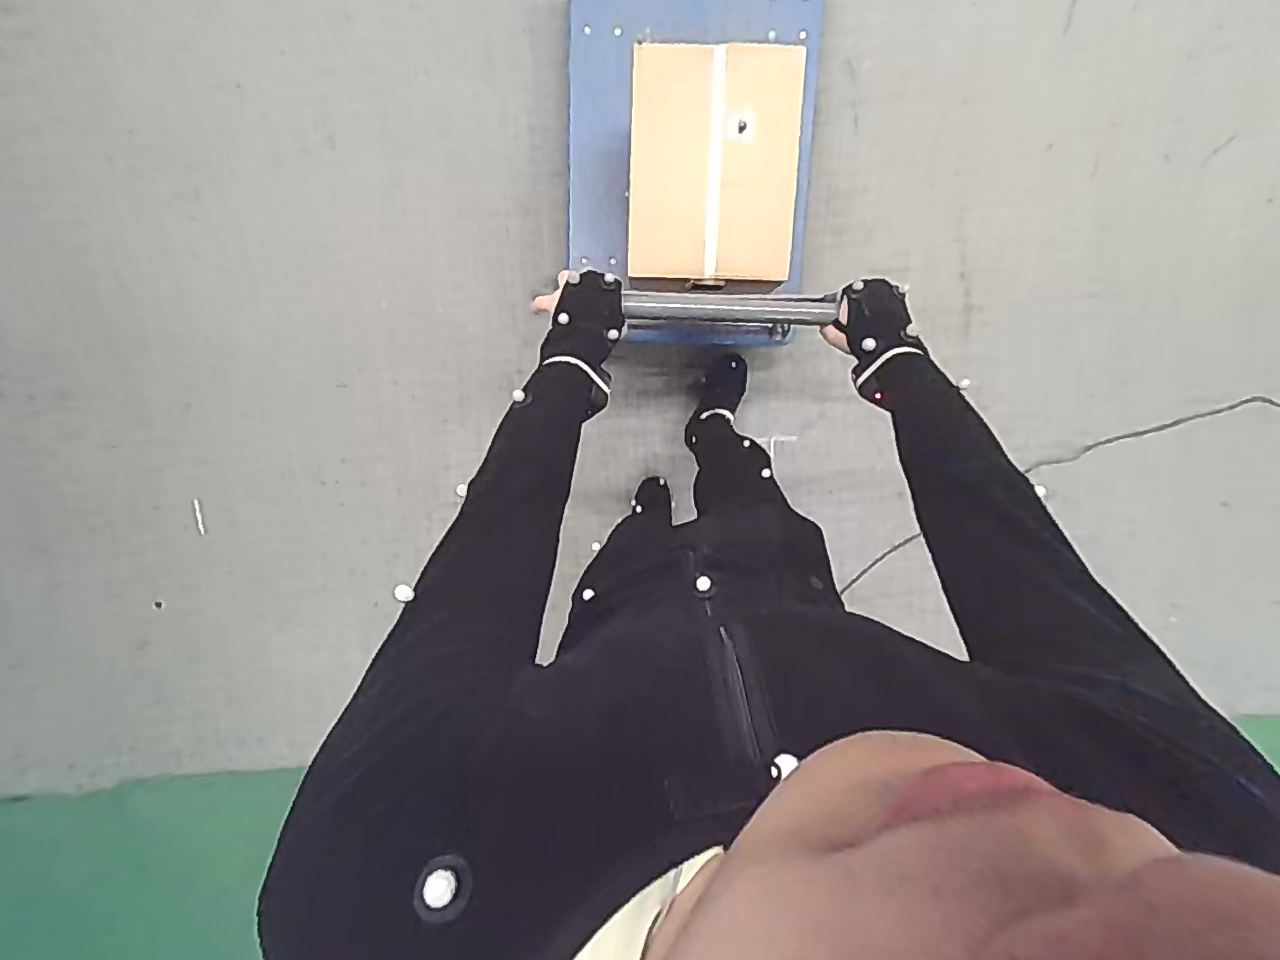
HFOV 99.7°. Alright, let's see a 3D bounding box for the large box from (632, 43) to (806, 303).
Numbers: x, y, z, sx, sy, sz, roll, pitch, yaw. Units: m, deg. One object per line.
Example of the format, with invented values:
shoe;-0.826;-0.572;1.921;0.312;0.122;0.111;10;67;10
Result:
large box;0.147;-0.606;1.146;0.320;0.320;0.408;2;99;0
